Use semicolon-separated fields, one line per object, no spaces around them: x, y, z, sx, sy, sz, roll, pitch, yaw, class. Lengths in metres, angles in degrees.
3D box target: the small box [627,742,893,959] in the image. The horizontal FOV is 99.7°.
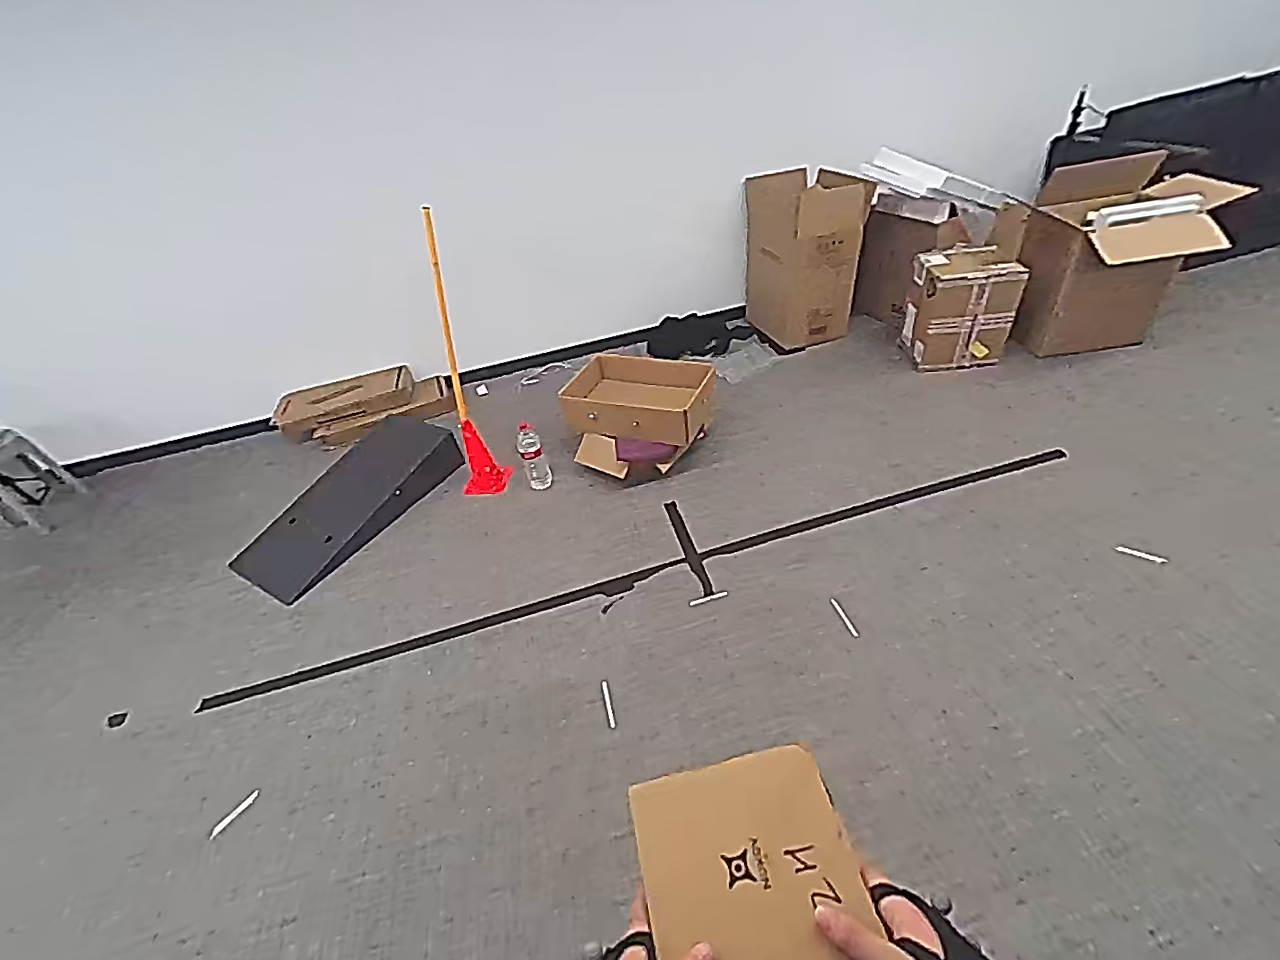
0.096;0.374;0.499;0.179;0.176;0.168;-12;46;-5;small box
